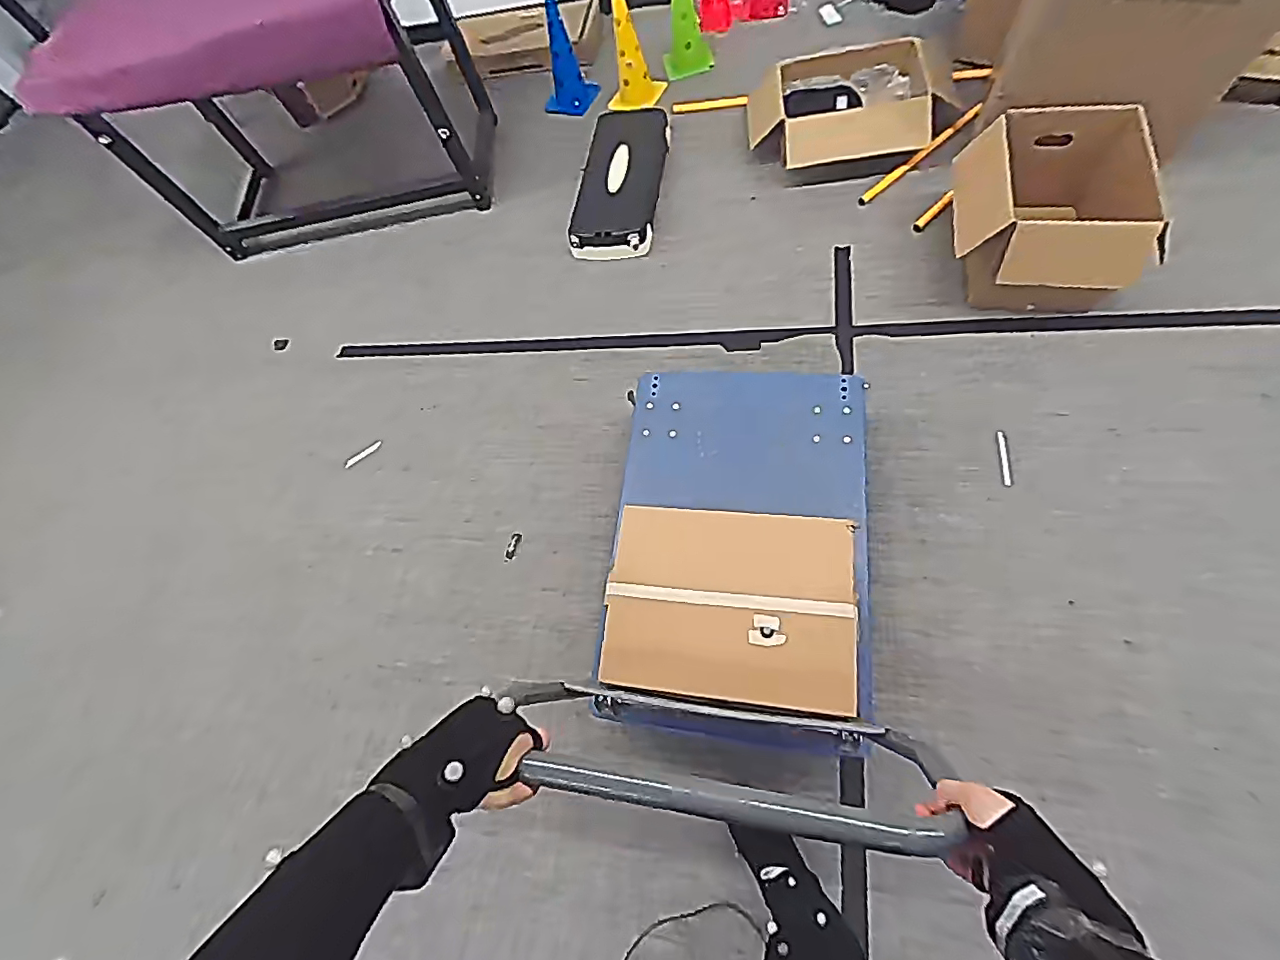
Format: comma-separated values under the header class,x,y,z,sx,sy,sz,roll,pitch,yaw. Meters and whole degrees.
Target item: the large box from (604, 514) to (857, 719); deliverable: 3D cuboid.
class,x,y,z,sx,sy,sz,roll,pitch,yaw
large box,0.172,0.269,1.041,0.408,0.320,0.320,3,68,12
